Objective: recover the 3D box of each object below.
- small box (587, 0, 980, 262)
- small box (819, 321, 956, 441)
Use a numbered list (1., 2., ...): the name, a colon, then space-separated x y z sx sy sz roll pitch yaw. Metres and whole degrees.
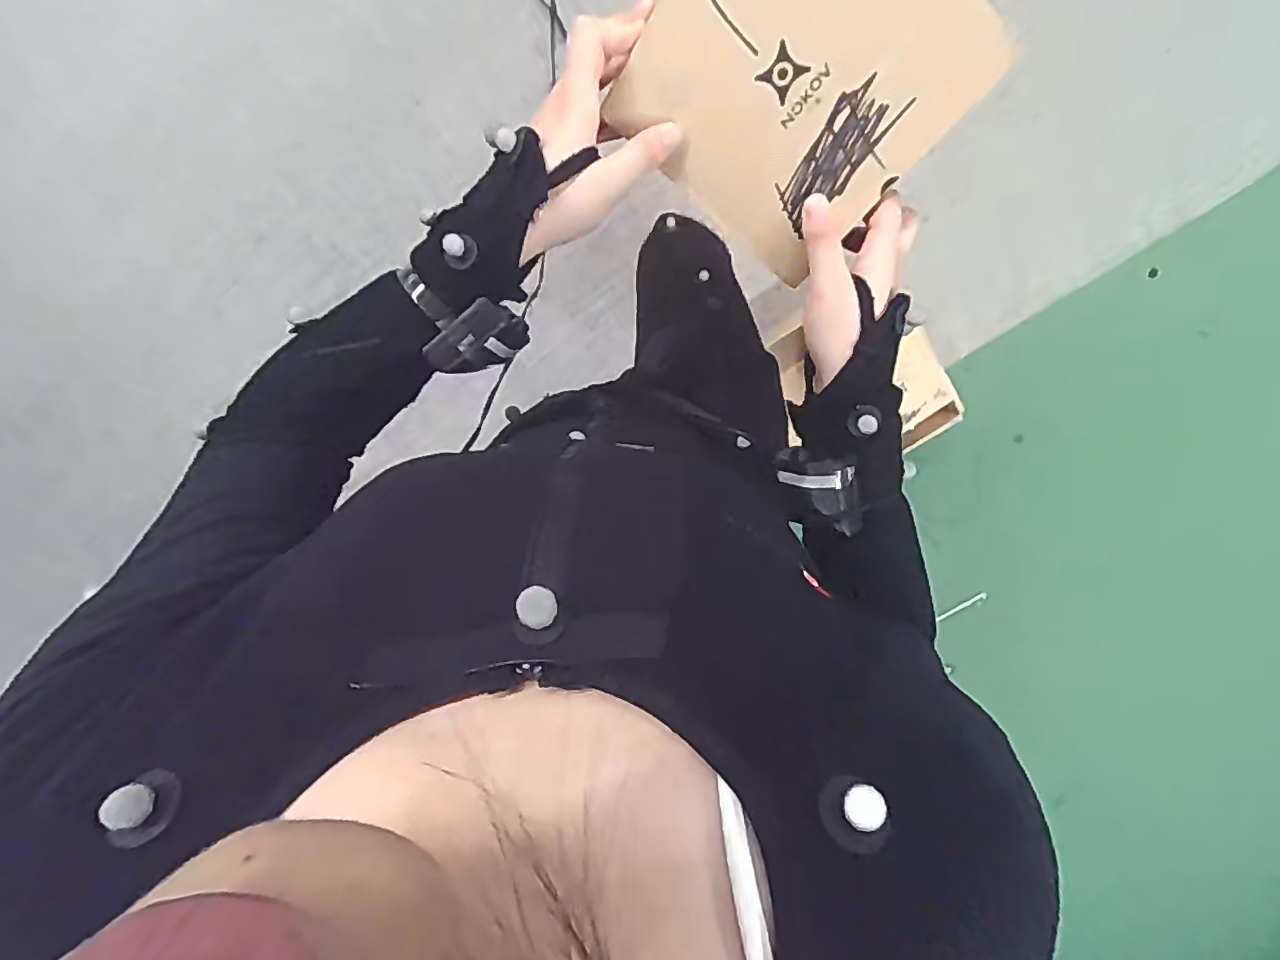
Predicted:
1. small box: 0.088 -0.300 0.383 0.179 0.176 0.168 29 129 -21
2. small box: 0.503 -0.206 1.126 0.168 0.176 0.179 -35 100 10
